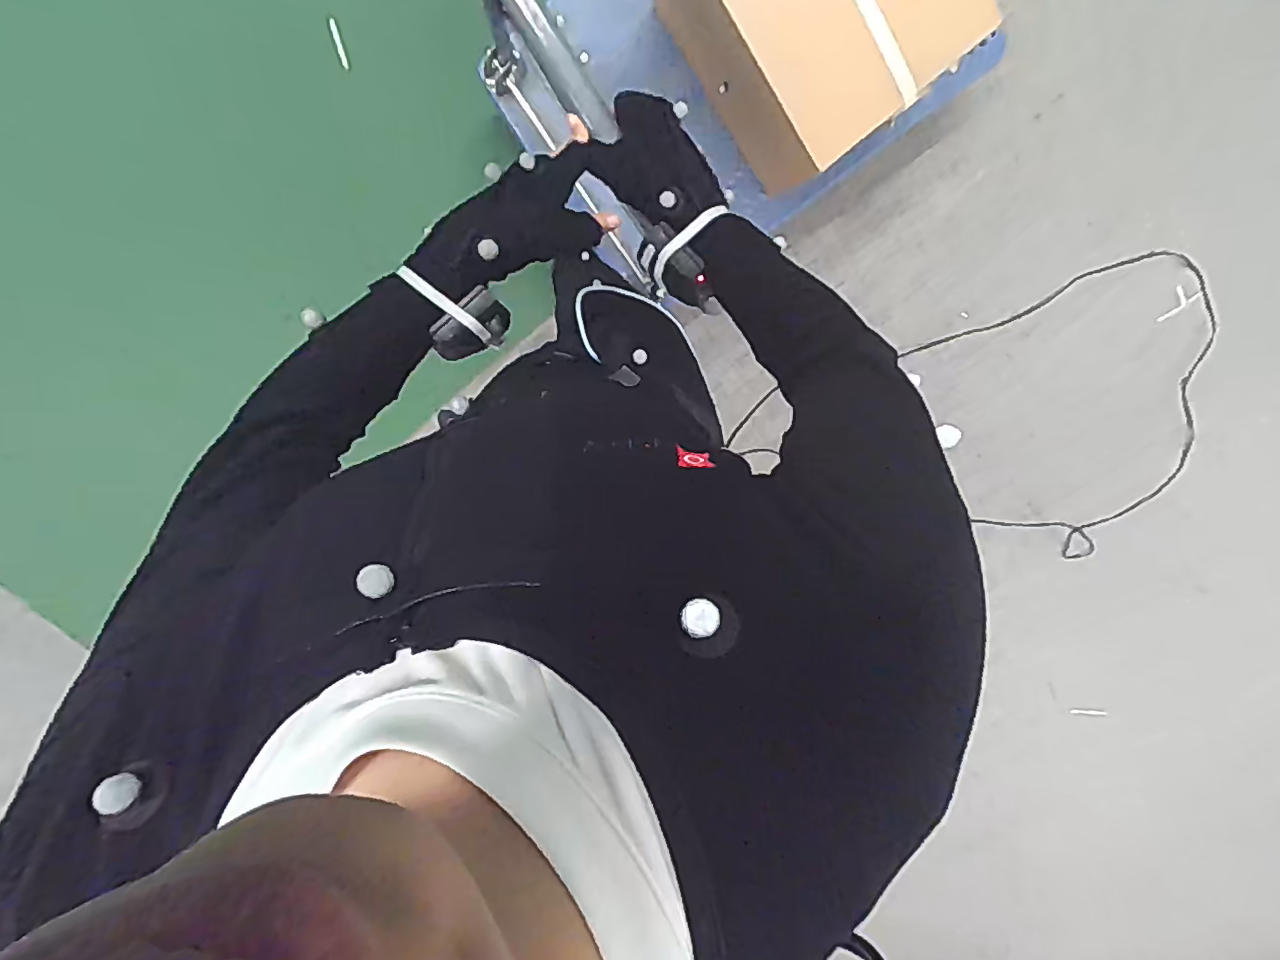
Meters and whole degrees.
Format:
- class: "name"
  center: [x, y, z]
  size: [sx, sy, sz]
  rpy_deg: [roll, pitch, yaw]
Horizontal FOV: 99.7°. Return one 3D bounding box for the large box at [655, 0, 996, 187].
- class: "large box"
  center: [0.269, -0.775, 0.886]
  size: [0.320, 0.320, 0.408]
  rpy_deg: [-37, 108, 11]
